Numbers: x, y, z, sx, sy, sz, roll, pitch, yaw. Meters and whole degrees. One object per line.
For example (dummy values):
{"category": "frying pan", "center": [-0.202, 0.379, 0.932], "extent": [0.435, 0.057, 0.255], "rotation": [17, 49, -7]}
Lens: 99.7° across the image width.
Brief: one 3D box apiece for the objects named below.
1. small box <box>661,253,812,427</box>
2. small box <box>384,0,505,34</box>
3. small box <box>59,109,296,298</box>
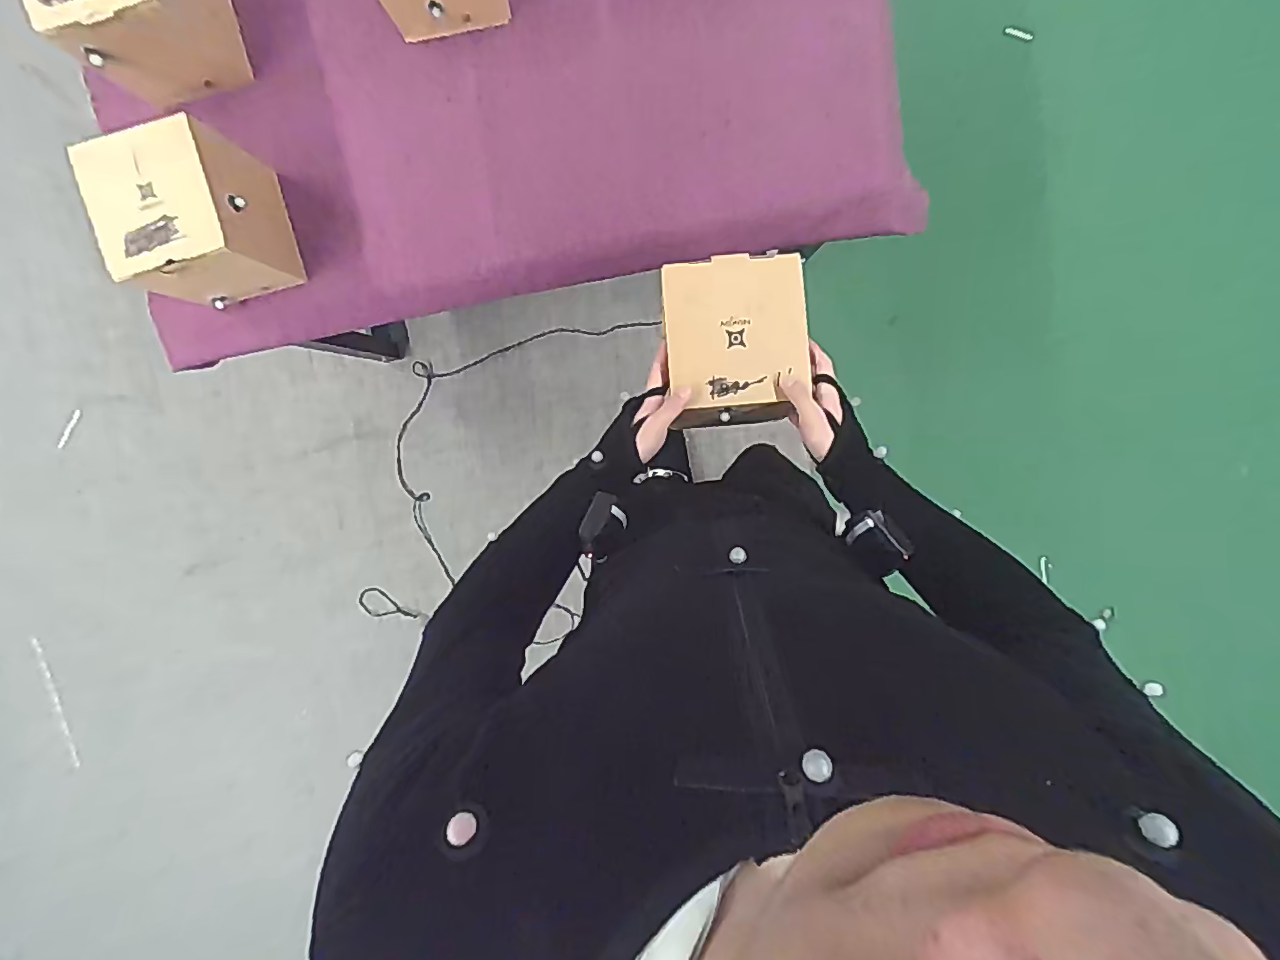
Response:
{"category": "small box", "center": [0.114, -0.171, 0.707], "extent": [0.168, 0.176, 0.179], "rotation": [-4, 88, 2]}
{"category": "small box", "center": [-0.290, -0.748, 0.713], "extent": [0.168, 0.176, 0.179], "rotation": [-9, 98, 2]}
{"category": "small box", "center": [-0.630, -0.369, 0.763], "extent": [0.168, 0.176, 0.179], "rotation": [-14, 95, 2]}
